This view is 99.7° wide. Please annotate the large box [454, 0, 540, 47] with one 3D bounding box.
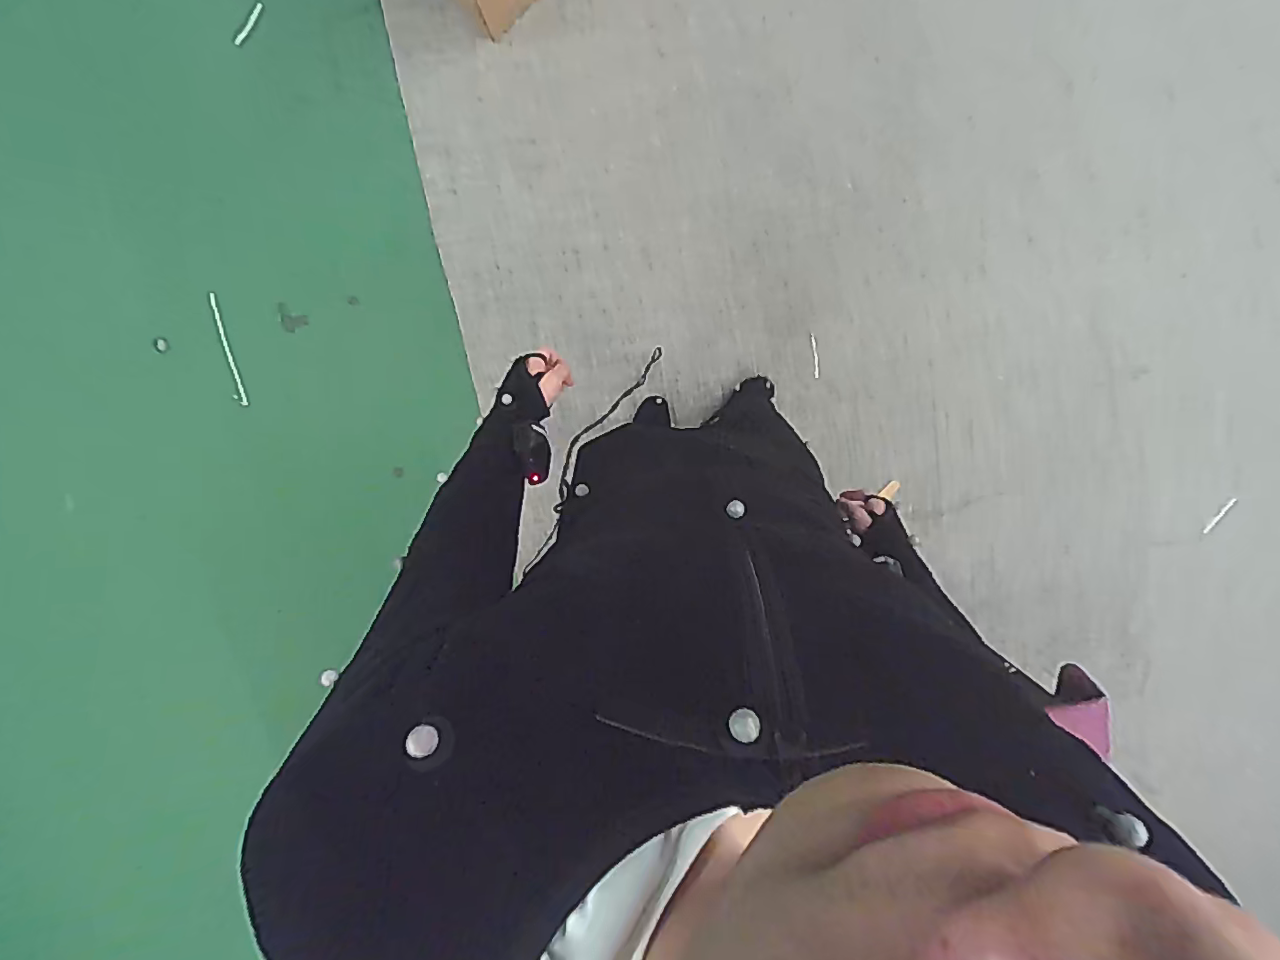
[{"bbox_3d":[-0.328,-1.326,1.206,0.408,0.320,0.320,-43,98,8],"label":"large box"}]
